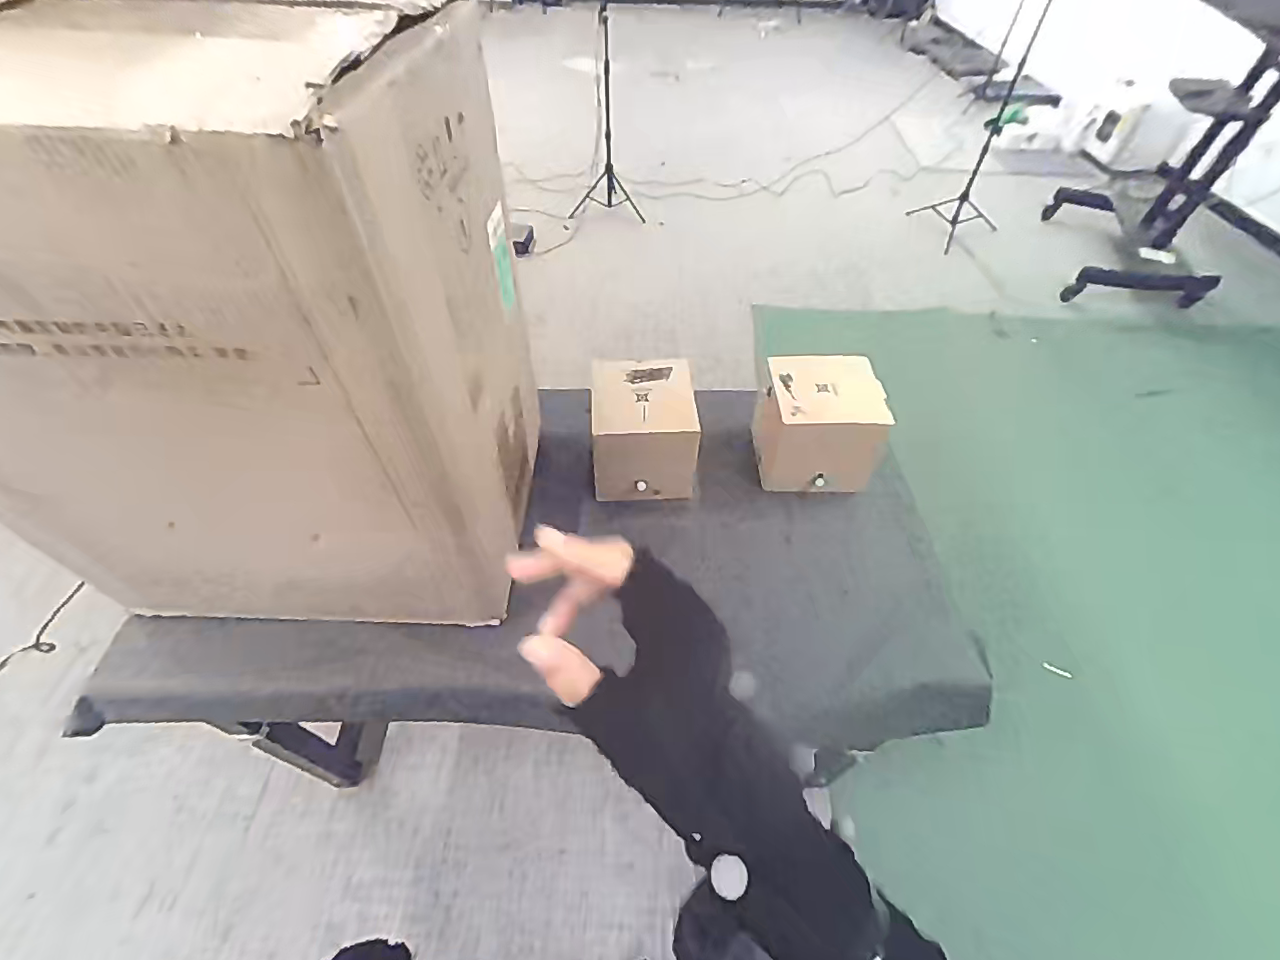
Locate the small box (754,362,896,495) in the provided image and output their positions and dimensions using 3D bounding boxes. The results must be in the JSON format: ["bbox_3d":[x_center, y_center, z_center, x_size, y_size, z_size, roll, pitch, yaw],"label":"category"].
[{"bbox_3d":[0.309,-0.086,0.944,0.179,0.176,0.168,1,50,-1],"label":"small box"}]
